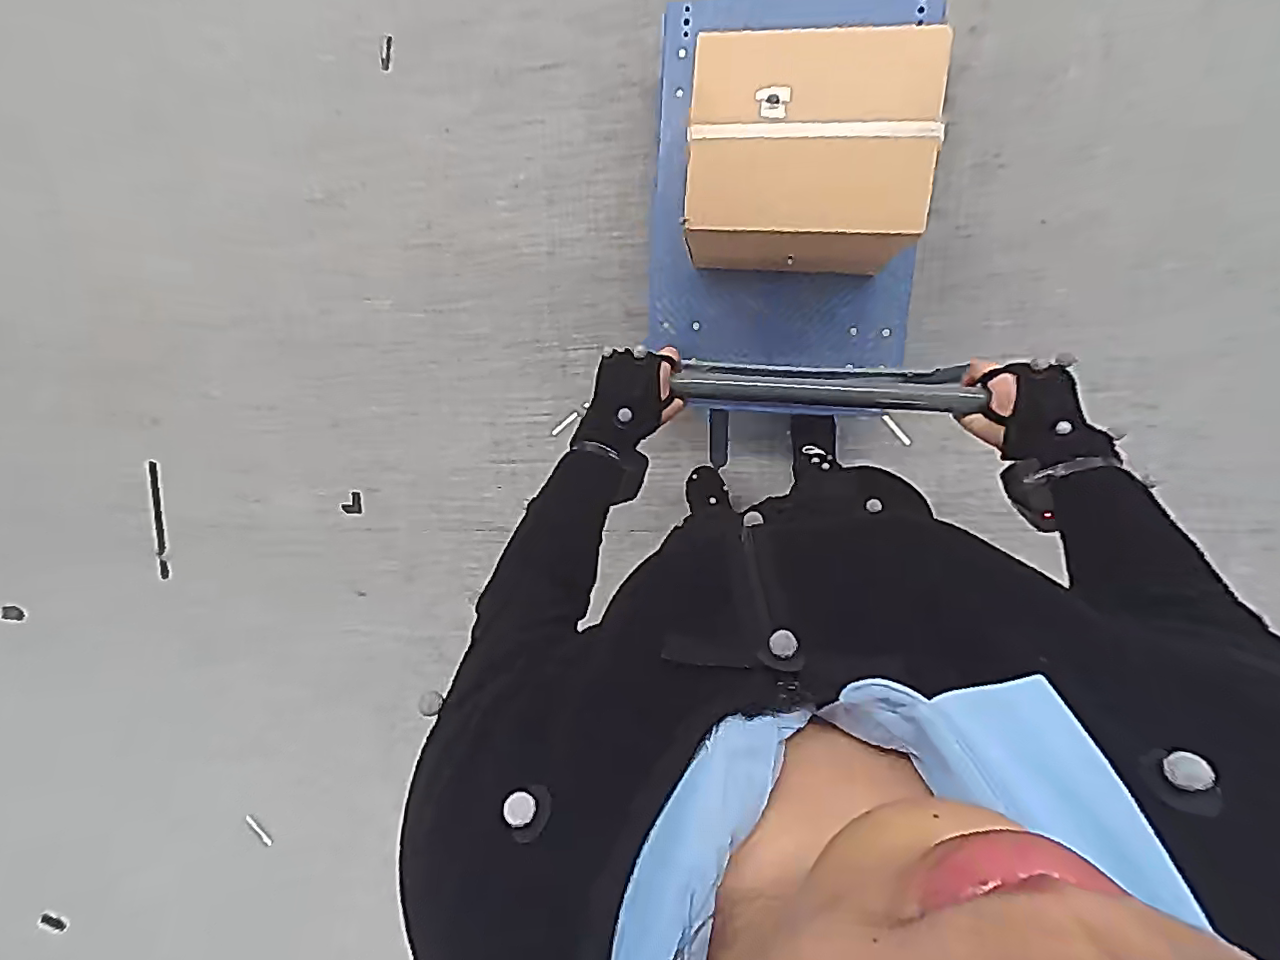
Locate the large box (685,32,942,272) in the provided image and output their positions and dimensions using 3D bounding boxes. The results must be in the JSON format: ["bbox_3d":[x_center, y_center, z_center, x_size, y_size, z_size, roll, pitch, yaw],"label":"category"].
[{"bbox_3d":[0.310,-0.600,1.062,0.408,0.320,0.320,5,98,10],"label":"large box"}]
